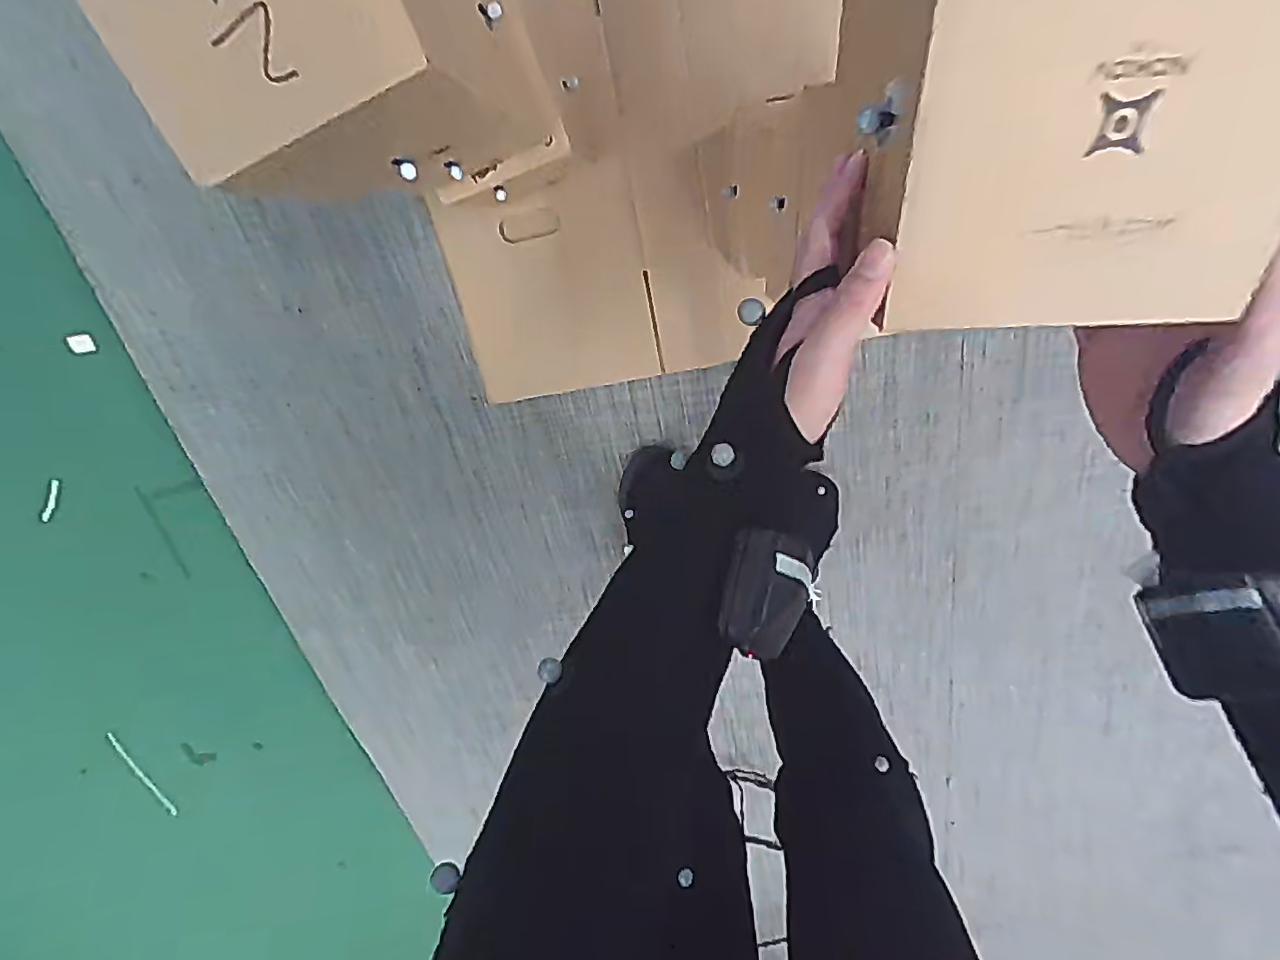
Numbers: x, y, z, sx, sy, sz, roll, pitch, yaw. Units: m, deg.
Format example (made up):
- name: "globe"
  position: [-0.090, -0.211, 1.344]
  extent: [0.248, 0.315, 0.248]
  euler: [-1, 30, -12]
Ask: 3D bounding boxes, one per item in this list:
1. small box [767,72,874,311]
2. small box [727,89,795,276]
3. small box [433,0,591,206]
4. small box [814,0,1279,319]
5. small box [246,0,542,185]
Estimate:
- name: "small box"
  position: [0.215, -0.263, 0.509]
  extent: [0.168, 0.176, 0.179]
  euler: [-1, 114, 5]
- name: "small box"
  position: [0.195, -0.353, 0.652]
  extent: [0.168, 0.176, 0.179]
  euler: [-4, 114, 7]
- name: "small box"
  position: [-0.171, -0.446, 0.642]
  extent: [0.168, 0.176, 0.179]
  euler: [-16, 112, 12]
- name: "small box"
  position: [0.200, -0.195, 0.297]
  extent: [0.168, 0.176, 0.179]
  euler: [0, 119, 6]
- name: "small box"
  position: [-0.207, -0.386, 0.491]
  extent: [0.168, 0.176, 0.179]
  euler: [-15, 112, 11]
